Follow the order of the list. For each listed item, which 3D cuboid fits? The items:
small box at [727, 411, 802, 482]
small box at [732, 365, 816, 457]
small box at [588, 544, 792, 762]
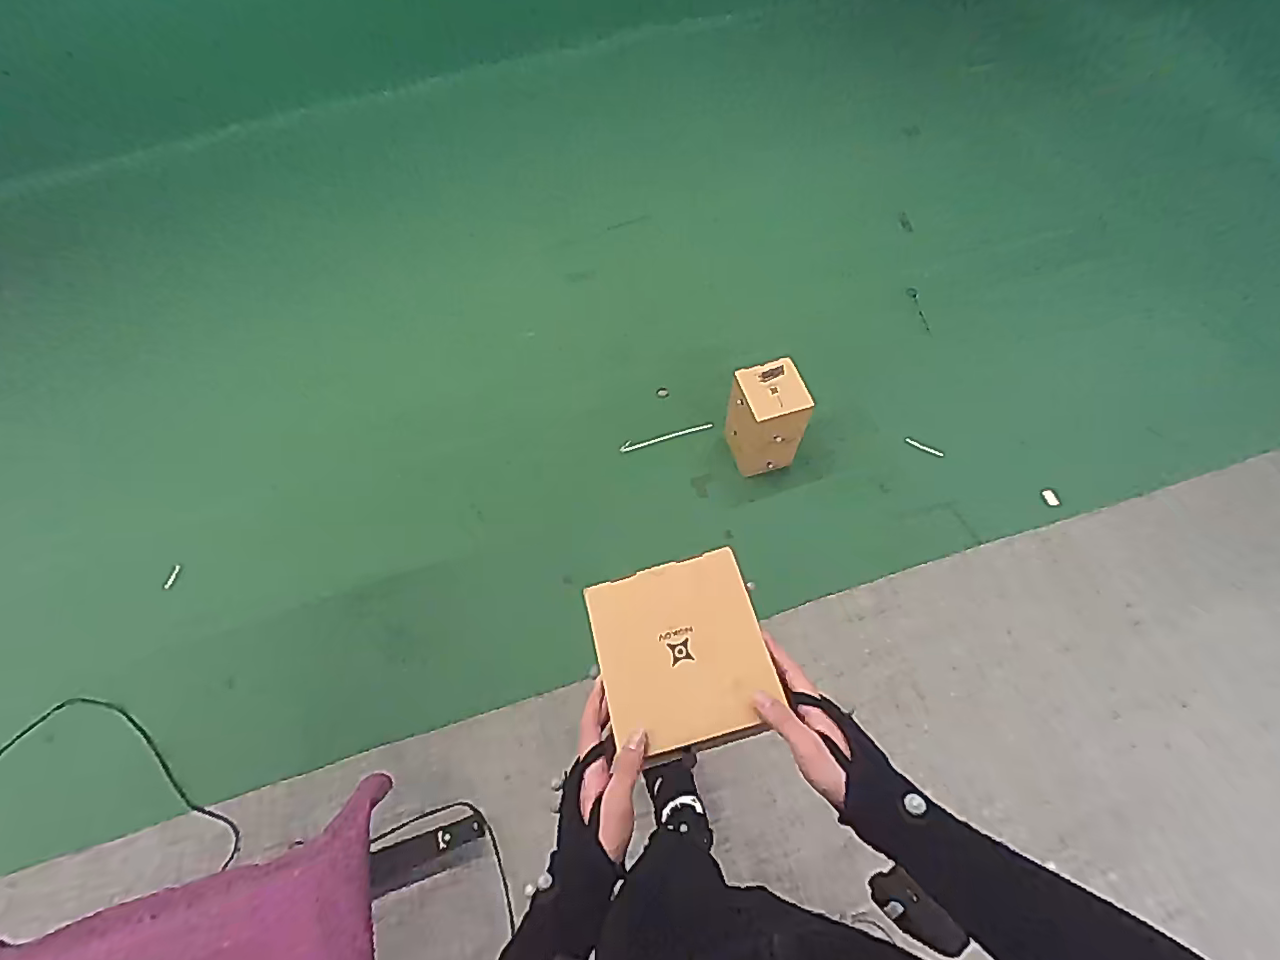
[{"bbox_3d":[0.378,-0.119,1.686,0.168,0.176,0.179,-15,63,-4],"label":"small box"},{"bbox_3d":[0.372,-0.194,1.540,0.168,0.176,0.179,-16,63,-5],"label":"small box"},{"bbox_3d":[0.054,0.200,0.600,0.168,0.176,0.179,-16,58,-1],"label":"small box"}]
